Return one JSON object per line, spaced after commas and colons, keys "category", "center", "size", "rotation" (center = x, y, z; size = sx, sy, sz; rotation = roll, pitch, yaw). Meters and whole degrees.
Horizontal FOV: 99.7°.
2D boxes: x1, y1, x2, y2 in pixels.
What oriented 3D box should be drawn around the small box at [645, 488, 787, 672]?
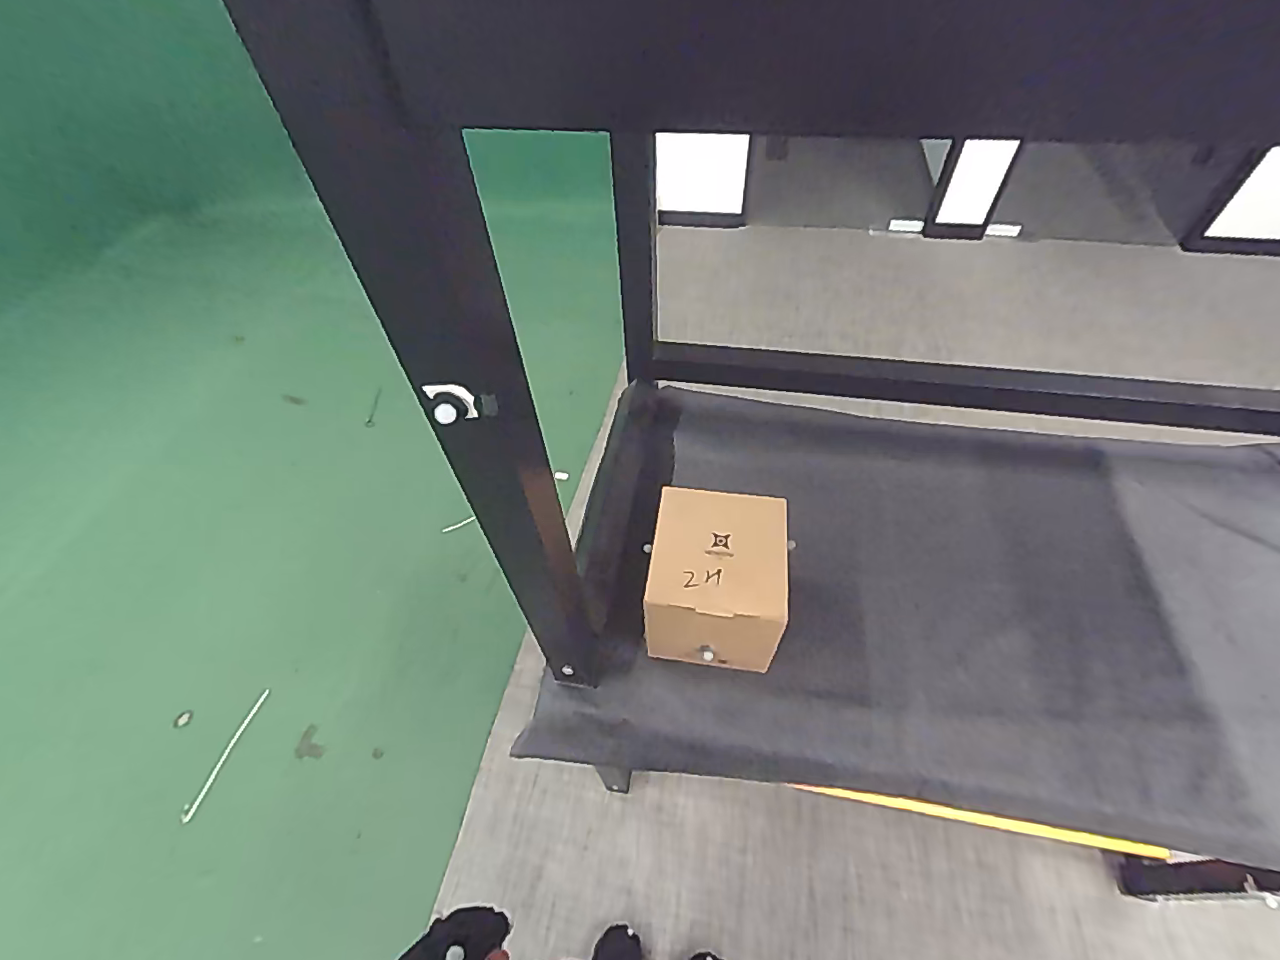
{"category": "small box", "center": [0.101, 0.136, 0.732], "size": [0.168, 0.176, 0.179], "rotation": [6, 51, 7]}
